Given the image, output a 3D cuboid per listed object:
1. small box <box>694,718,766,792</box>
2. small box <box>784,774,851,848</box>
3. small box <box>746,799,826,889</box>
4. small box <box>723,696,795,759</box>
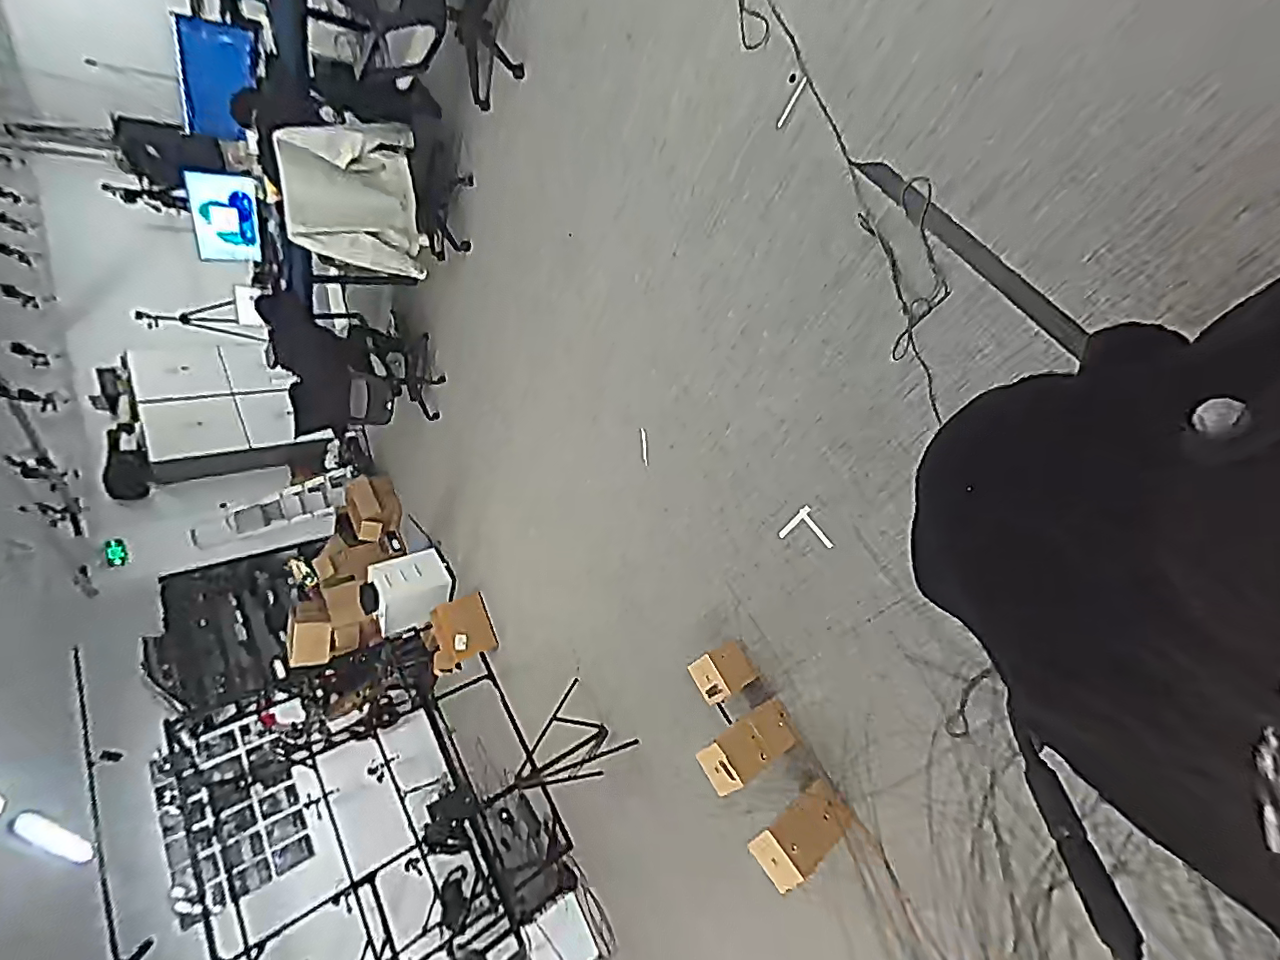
[{"bbox_3d":[0.337,1.009,1.991,0.168,0.176,0.179,56,139,22],"label":"small box"},{"bbox_3d":[0.633,1.223,1.973,0.179,0.176,0.168,46,133,30],"label":"small box"},{"bbox_3d":[0.508,1.257,1.874,0.179,0.176,0.168,48,134,30],"label":"small box"},{"bbox_3d":[0.463,0.965,2.088,0.168,0.176,0.179,57,138,19],"label":"small box"}]
